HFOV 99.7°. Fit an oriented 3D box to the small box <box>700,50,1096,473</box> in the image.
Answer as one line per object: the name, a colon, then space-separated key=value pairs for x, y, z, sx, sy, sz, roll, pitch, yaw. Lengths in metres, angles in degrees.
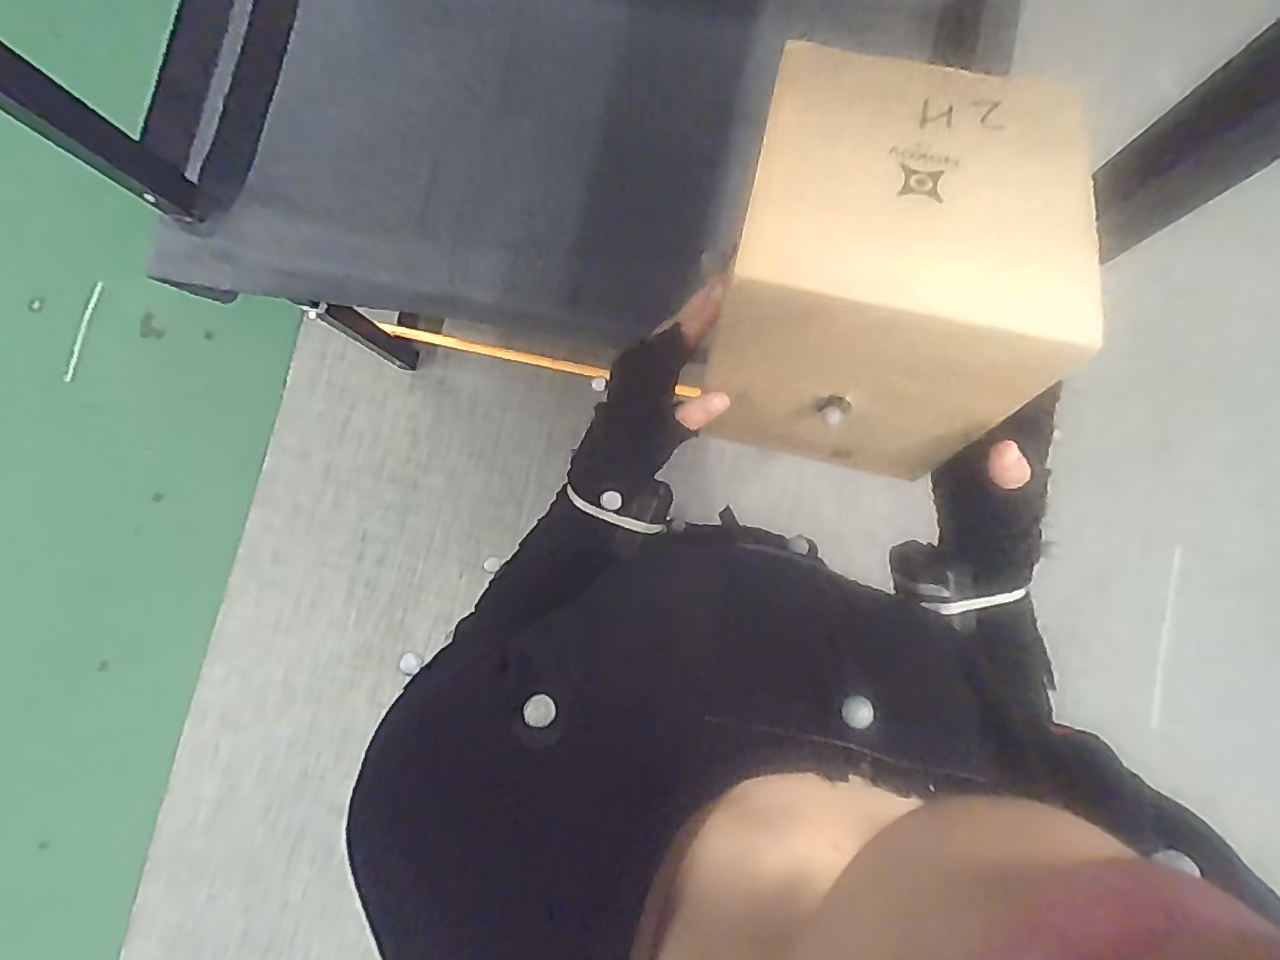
small box: x=0.139 y=-0.123 z=0.349 sx=0.168 sy=0.176 sz=0.179 roll=13 pitch=67 yaw=3
